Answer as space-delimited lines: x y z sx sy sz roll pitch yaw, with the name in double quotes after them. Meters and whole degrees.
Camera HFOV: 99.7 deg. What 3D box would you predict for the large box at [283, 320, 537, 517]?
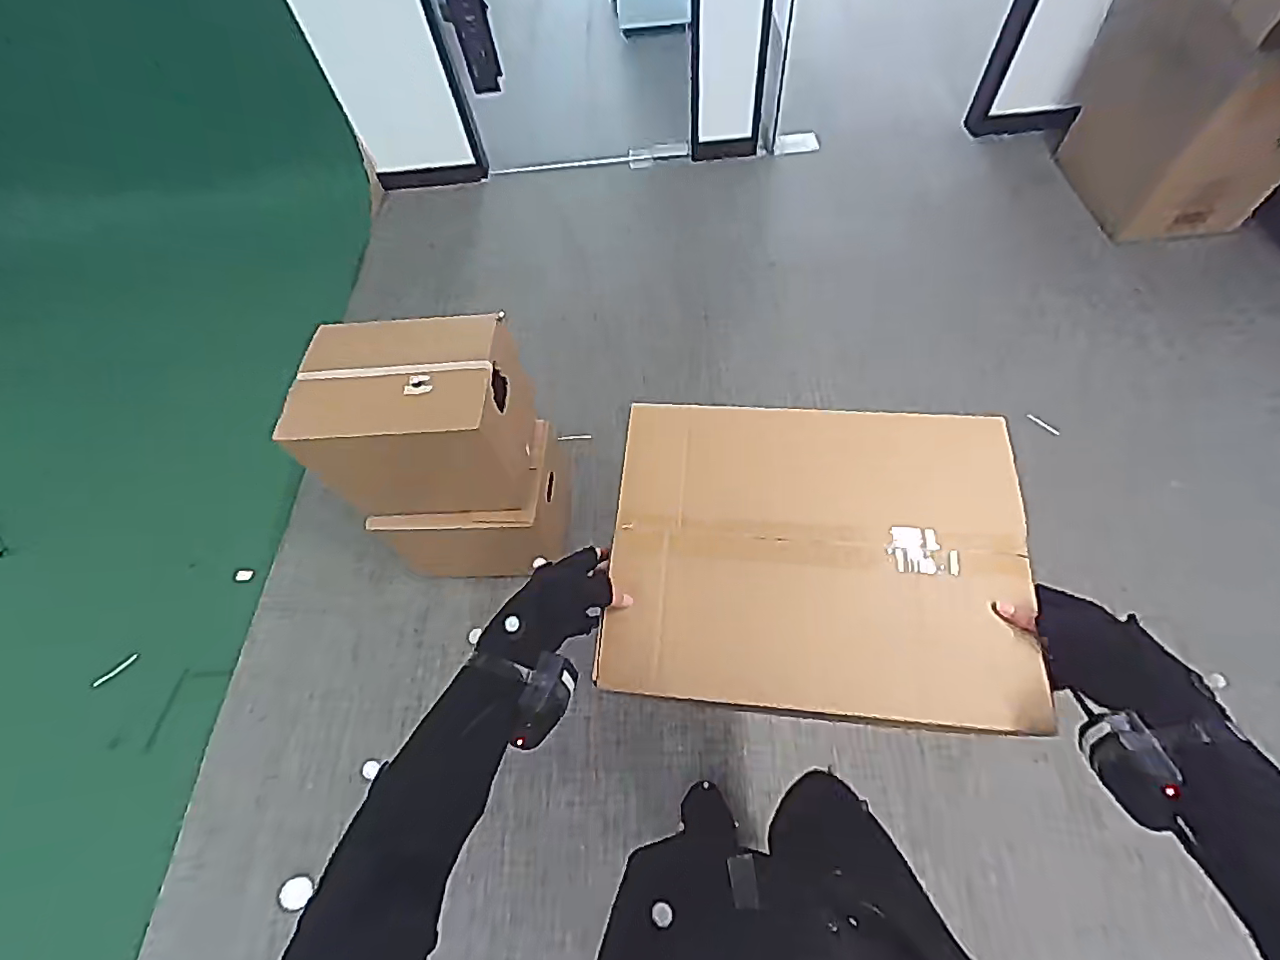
-0.475 -0.128 1.221 0.408 0.320 0.320 -2 58 3 "large box"
